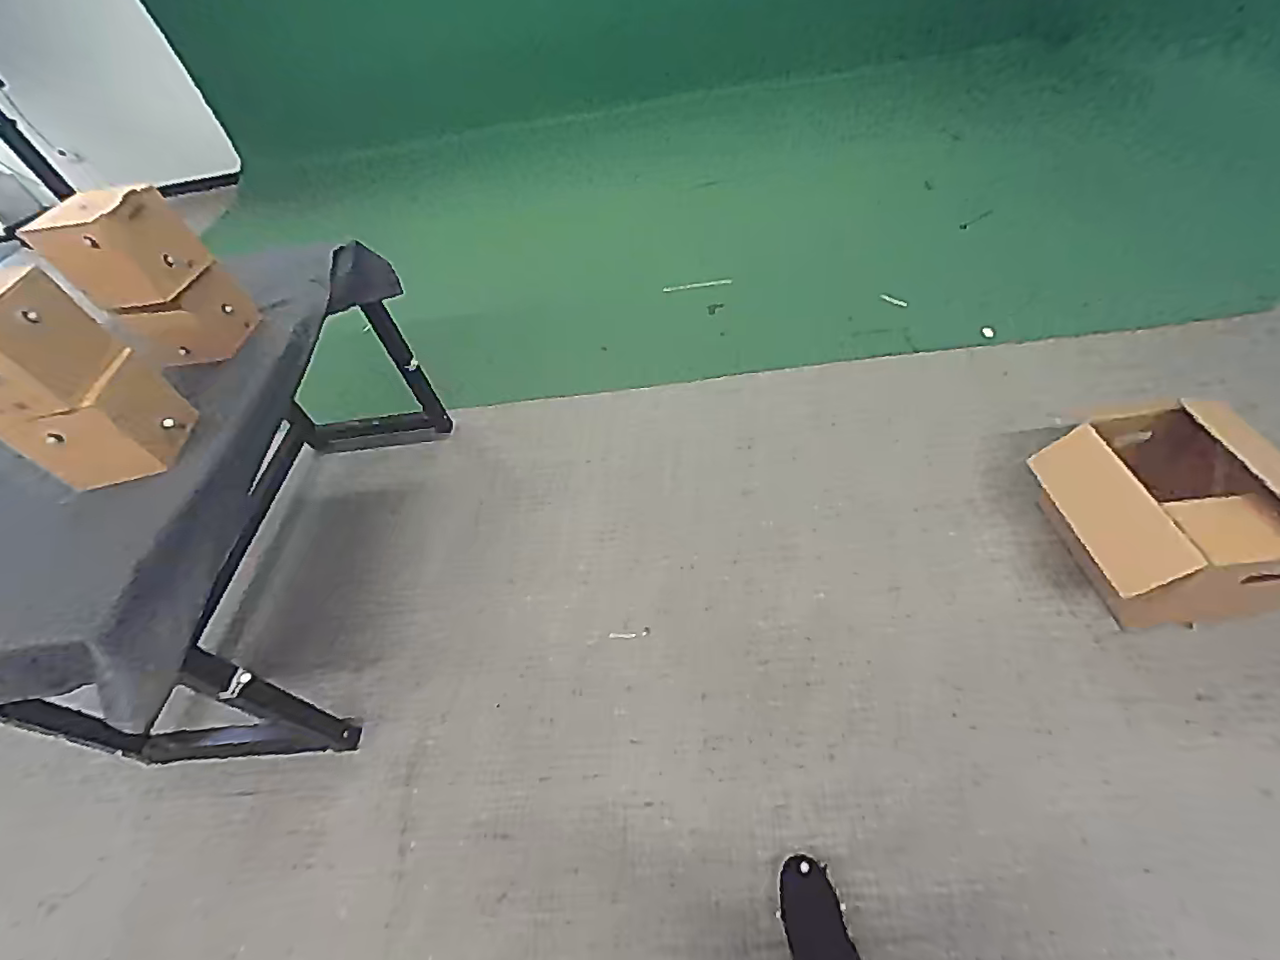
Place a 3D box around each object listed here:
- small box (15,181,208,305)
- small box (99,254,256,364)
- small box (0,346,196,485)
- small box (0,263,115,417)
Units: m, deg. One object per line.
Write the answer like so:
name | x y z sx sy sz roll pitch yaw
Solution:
small box | -1.038 -0.468 1.081 0.179 0.176 0.168 -3 50 8
small box | -1.027 -0.383 1.222 0.179 0.176 0.168 -5 50 6
small box | -0.984 -0.113 0.989 0.179 0.176 0.168 -13 50 -1
small box | -1.022 -0.216 0.869 0.168 0.176 0.179 -10 49 1
